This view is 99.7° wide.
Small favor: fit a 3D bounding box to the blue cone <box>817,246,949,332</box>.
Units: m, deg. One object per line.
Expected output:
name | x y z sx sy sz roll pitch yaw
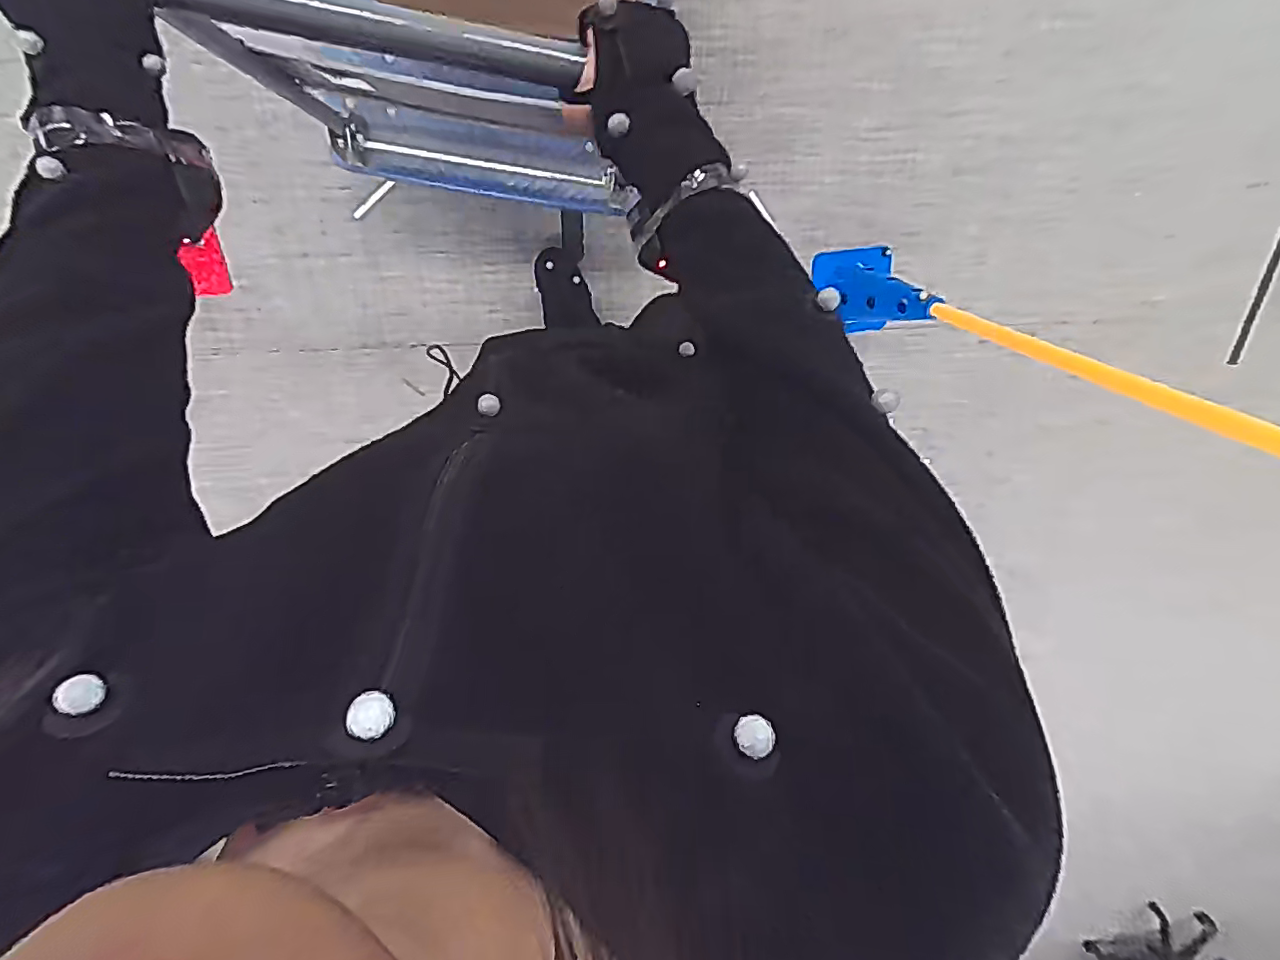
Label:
blue cone | 0.545 -0.406 1.186 0.193 0.380 0.192 -6 113 -4
